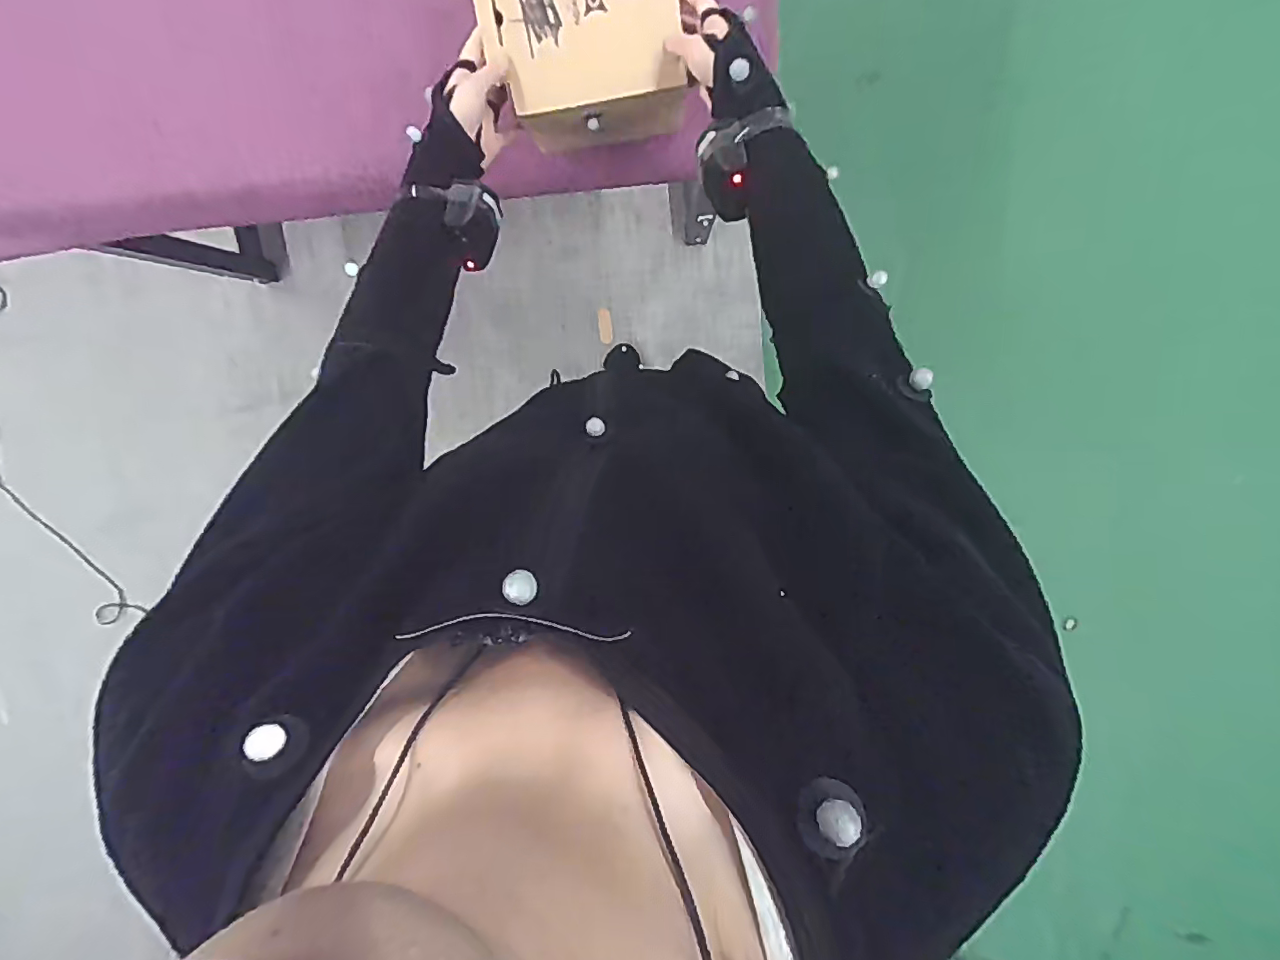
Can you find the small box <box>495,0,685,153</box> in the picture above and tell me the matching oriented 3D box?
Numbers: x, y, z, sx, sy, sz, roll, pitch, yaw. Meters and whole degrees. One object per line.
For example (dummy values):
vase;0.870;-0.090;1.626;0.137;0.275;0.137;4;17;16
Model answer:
small box;-0.048;-0.475;0.585;0.179;0.176;0.168;-7;109;4
